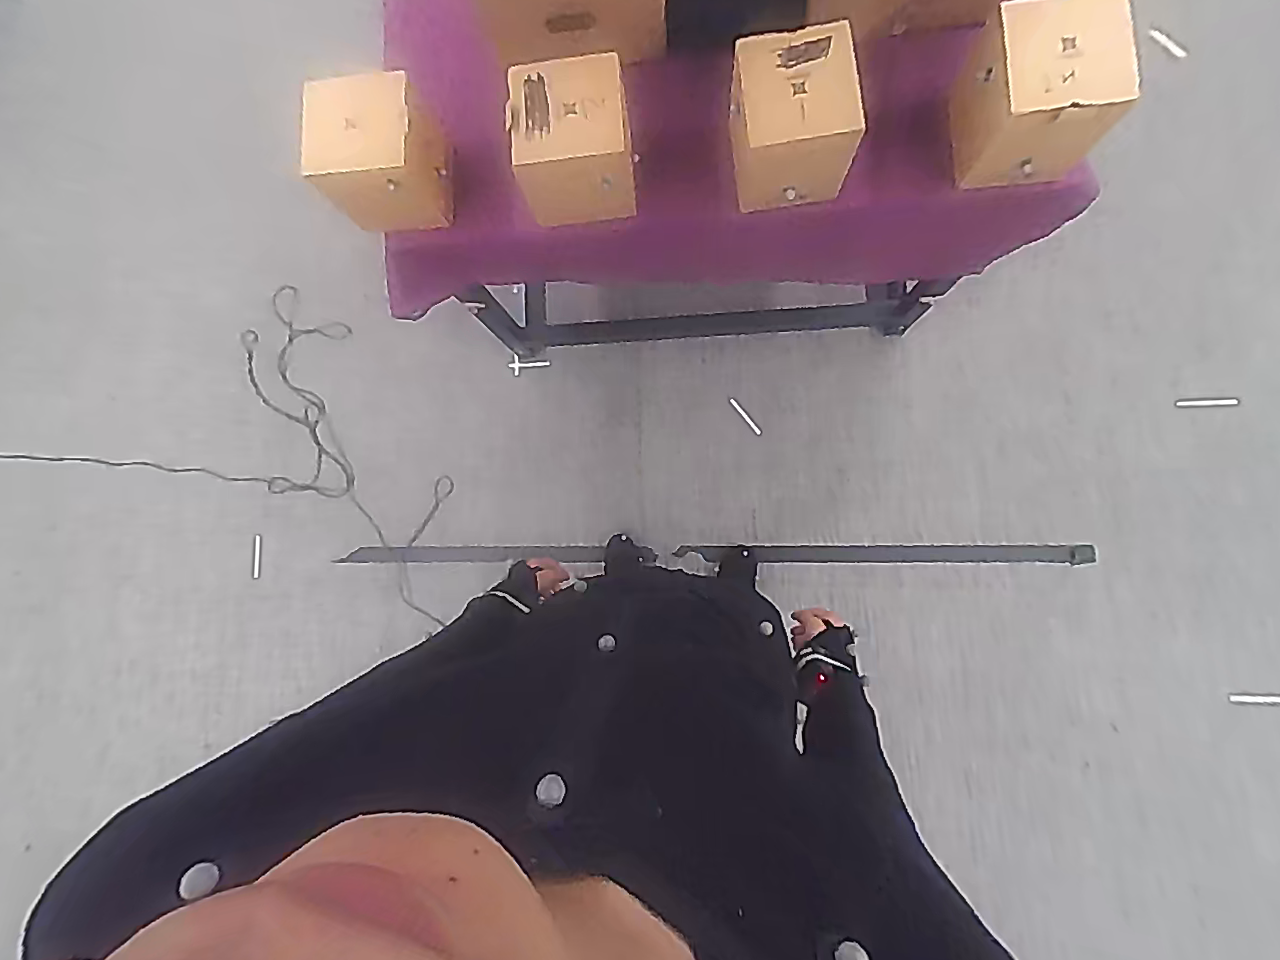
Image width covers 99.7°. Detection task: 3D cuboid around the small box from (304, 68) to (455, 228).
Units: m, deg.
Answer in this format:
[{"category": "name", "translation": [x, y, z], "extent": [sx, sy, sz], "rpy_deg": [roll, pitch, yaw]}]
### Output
[{"category": "small box", "translation": [-0.439, -0.557, 0.931], "extent": [0.179, 0.176, 0.168], "rpy_deg": [-3, 84, 5]}]

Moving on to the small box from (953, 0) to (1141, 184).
[{"category": "small box", "translation": [0.599, -0.587, 0.821], "extent": [0.168, 0.176, 0.179], "rpy_deg": [-1, 84, 7]}]

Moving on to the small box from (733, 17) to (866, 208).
[{"category": "small box", "translation": [0.241, -0.569, 0.859], "extent": [0.168, 0.176, 0.179], "rpy_deg": [-6, 85, 6]}]
